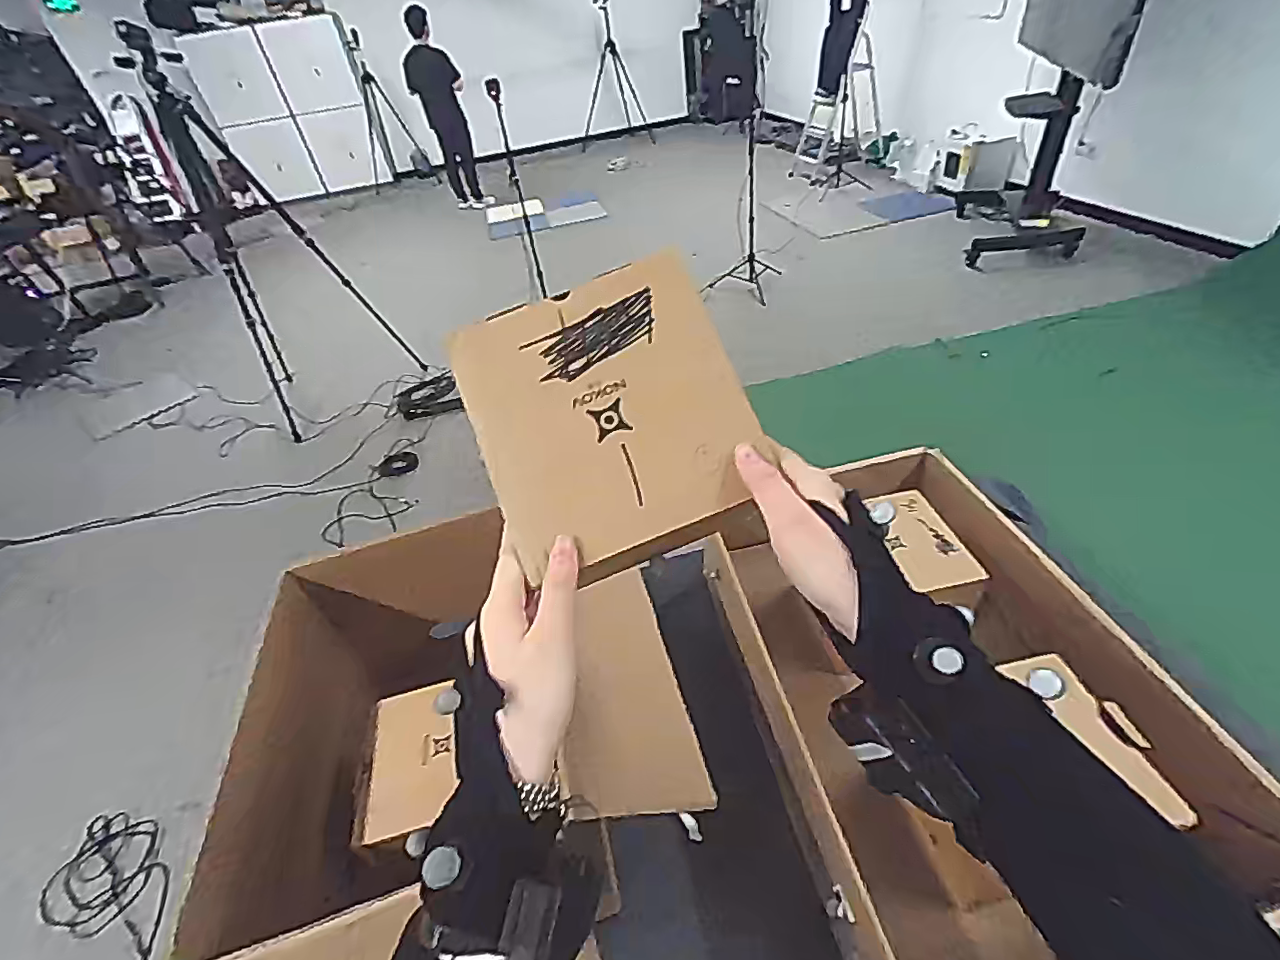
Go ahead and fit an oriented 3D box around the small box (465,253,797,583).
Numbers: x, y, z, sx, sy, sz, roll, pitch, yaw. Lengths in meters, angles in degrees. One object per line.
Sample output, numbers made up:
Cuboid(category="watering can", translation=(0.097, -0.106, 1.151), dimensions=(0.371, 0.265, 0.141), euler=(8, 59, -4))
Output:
Cuboid(category="small box", translation=(-0.007, -0.029, 0.416), dimensions=(0.168, 0.176, 0.179), euler=(-22, 78, 0))
